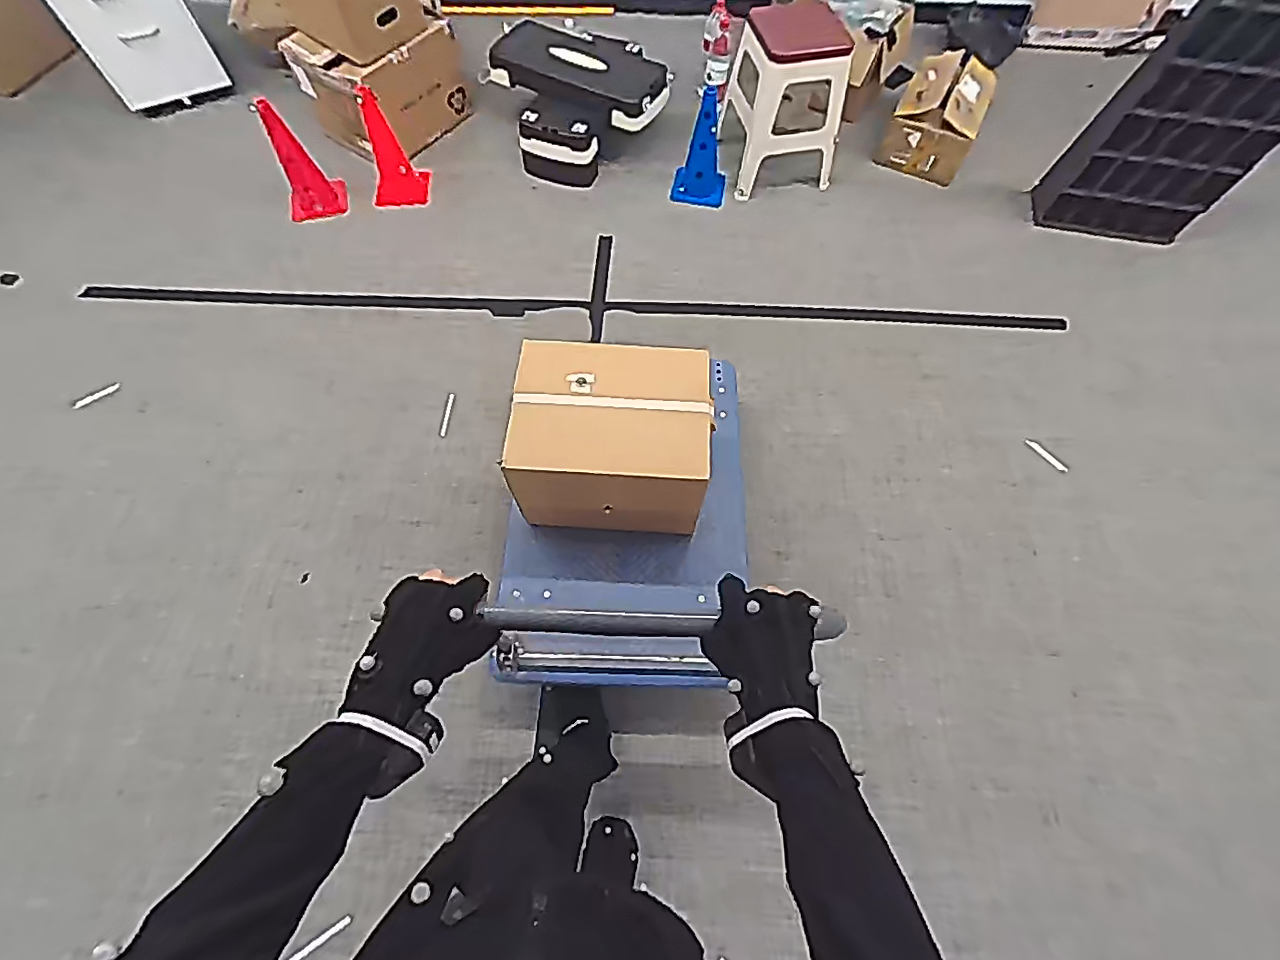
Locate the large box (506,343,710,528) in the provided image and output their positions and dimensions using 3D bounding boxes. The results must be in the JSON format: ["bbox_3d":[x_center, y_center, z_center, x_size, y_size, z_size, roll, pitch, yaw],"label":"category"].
[{"bbox_3d":[-0.055,-0.088,1.243,0.408,0.320,0.320,4,65,1],"label":"large box"}]
